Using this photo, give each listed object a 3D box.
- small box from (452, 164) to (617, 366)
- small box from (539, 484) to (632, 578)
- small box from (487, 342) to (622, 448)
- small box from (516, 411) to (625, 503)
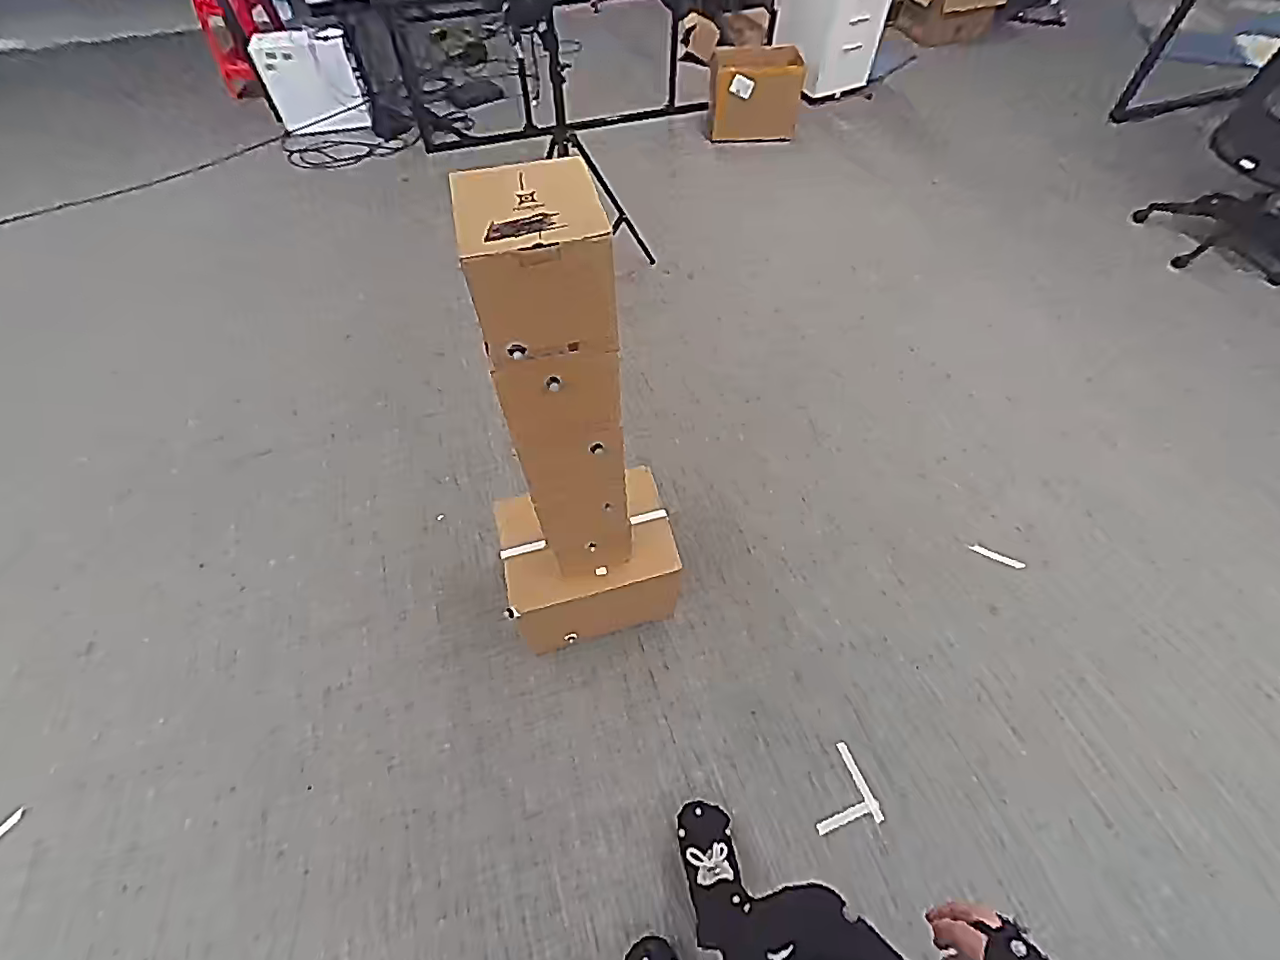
[{"bbox_3d":[-0.127,-0.263,0.687,0.168,0.176,0.179,-12,57,-8],"label":"small box"},{"bbox_3d":[-0.123,0.102,1.230,0.179,0.176,0.168,-15,59,-11],"label":"small box"},{"bbox_3d":[-0.129,-0.171,0.823,0.179,0.176,0.168,-12,58,-7],"label":"small box"},{"bbox_3d":[-0.128,-0.081,0.957,0.179,0.176,0.168,-13,57,-8],"label":"small box"}]
